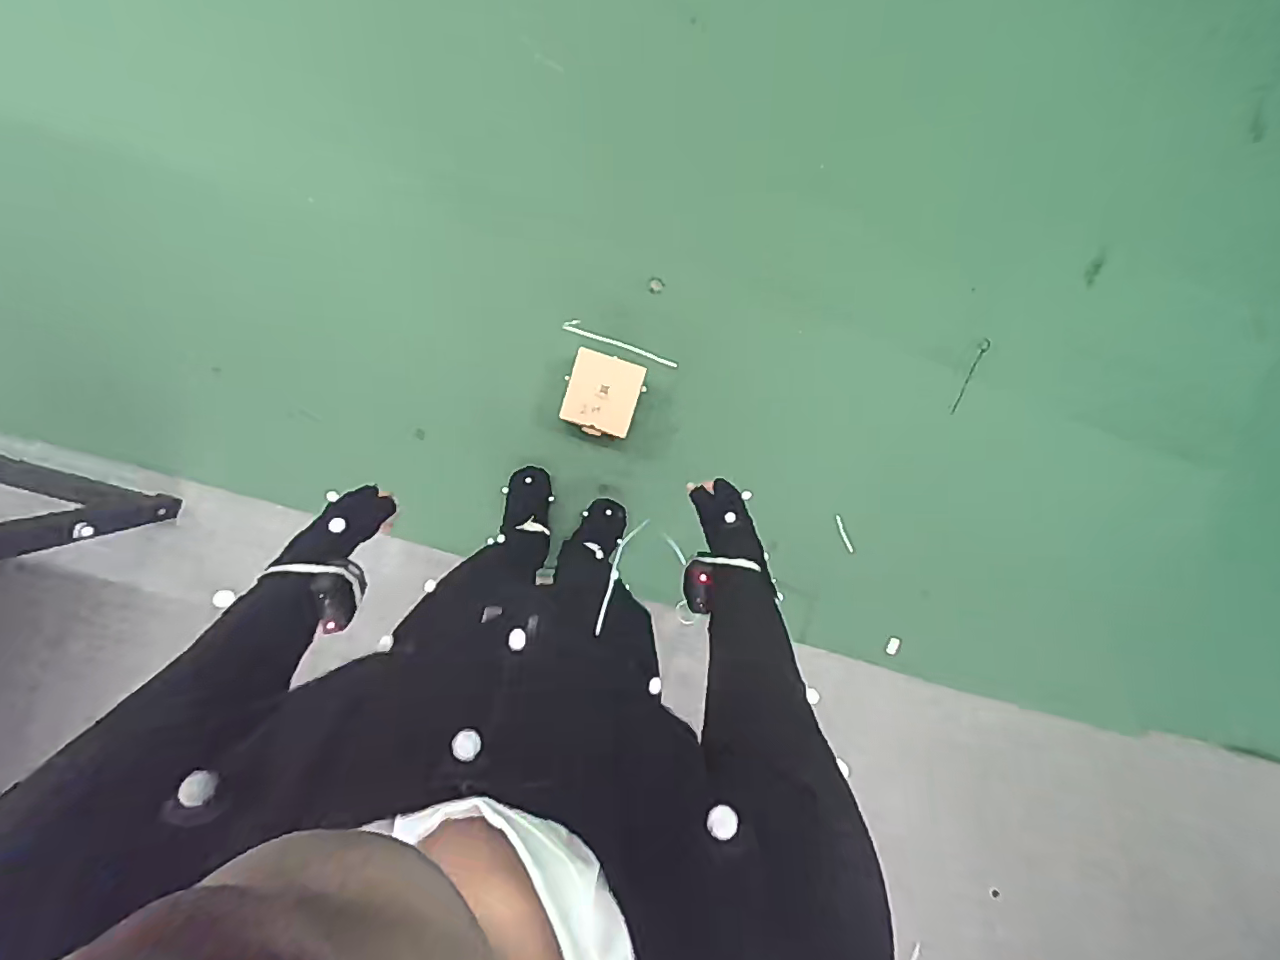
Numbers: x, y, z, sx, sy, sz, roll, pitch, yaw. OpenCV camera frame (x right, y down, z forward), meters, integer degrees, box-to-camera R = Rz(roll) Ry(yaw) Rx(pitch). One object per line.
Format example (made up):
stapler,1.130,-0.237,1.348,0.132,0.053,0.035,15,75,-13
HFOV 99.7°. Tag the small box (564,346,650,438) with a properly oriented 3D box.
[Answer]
small box,-0.086,-0.212,1.342,0.168,0.176,0.179,17,94,-7
